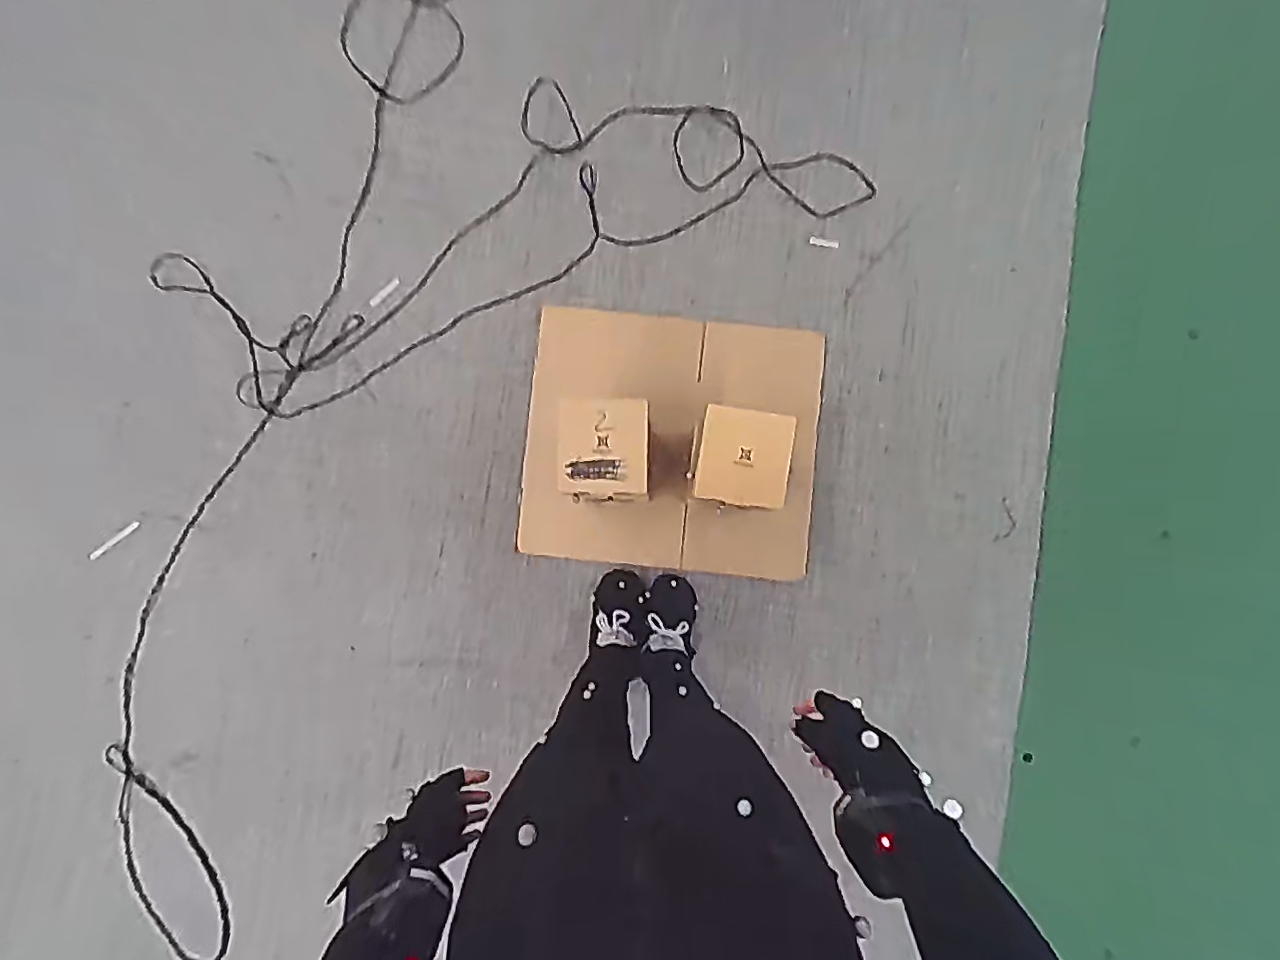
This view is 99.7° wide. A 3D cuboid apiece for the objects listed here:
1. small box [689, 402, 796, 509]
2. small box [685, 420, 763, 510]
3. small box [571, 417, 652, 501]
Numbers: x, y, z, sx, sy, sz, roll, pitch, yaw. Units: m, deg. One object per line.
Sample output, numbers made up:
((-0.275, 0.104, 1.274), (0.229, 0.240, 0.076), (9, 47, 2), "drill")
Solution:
((0.191, -0.042, 1.054), (0.168, 0.176, 0.179), (9, 88, 2), "small box")
((0.192, -0.028, 1.216), (0.168, 0.176, 0.179), (6, 88, 3), "small box")
((-0.058, -0.043, 1.218), (0.168, 0.176, 0.179), (1, 87, 1), "small box")
